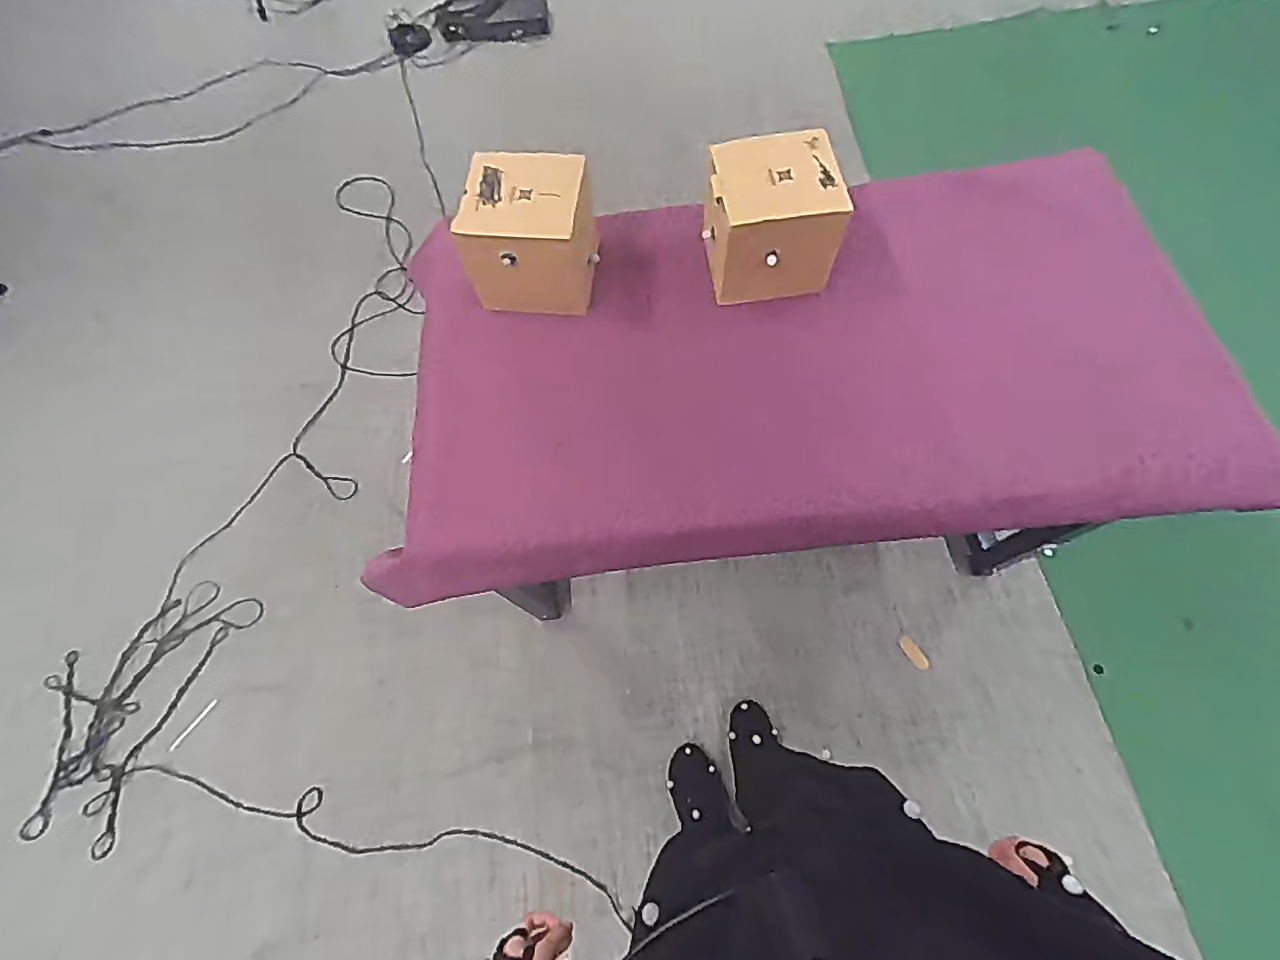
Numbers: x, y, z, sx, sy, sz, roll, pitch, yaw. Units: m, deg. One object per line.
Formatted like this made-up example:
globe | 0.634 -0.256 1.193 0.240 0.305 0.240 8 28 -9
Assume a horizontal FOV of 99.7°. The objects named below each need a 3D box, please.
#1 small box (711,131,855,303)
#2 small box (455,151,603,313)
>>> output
small box | 0.206 -0.398 0.841 0.179 0.176 0.168 -7 69 1
small box | -0.163 -0.385 0.857 0.179 0.176 0.168 5 69 5
